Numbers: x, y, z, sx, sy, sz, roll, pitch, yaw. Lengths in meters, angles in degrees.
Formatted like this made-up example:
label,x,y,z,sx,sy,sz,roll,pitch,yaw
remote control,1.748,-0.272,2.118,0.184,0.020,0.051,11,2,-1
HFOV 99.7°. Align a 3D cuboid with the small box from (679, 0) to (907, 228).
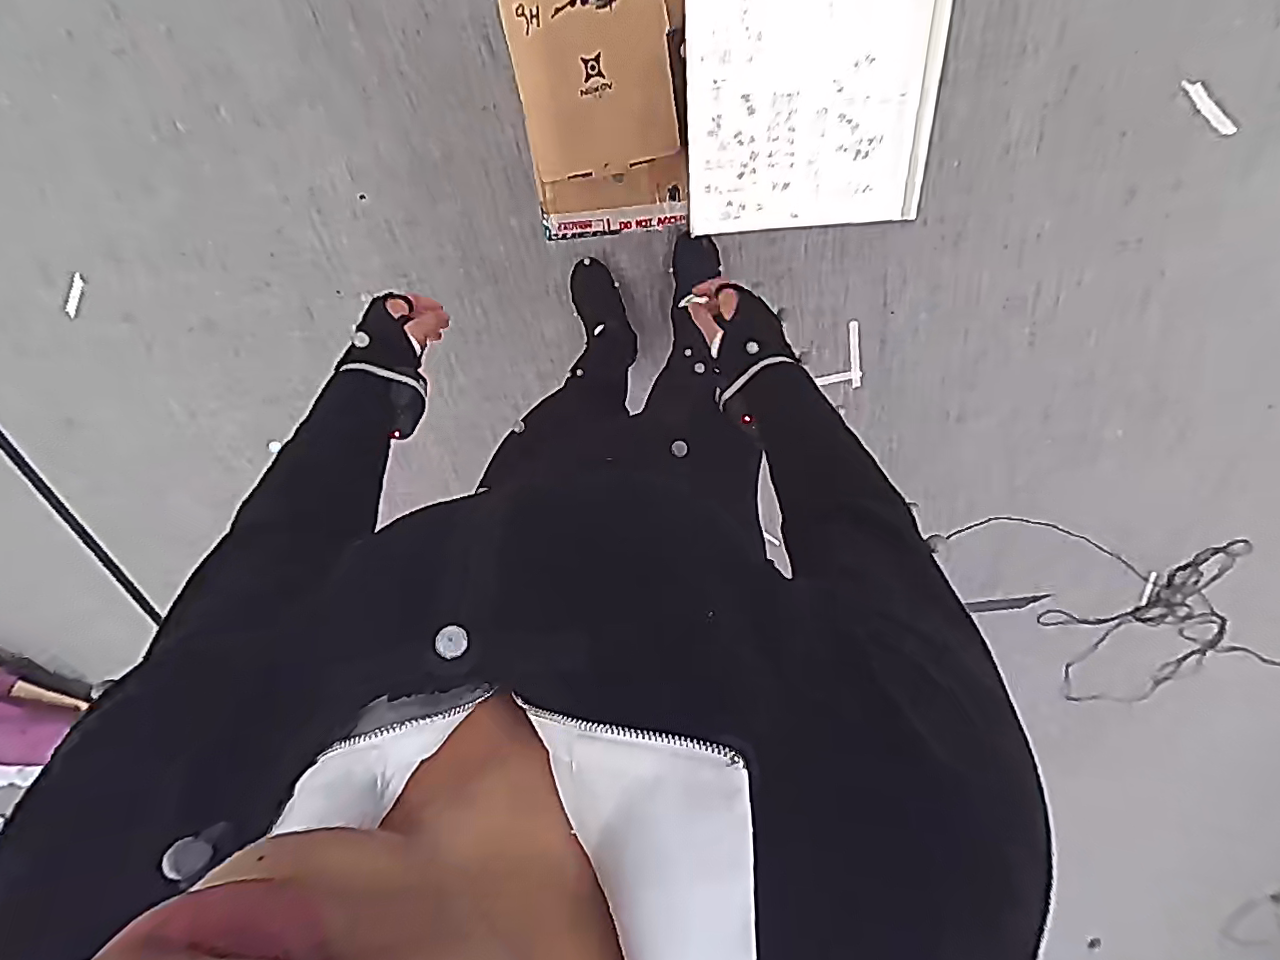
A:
label,x,y,z,sx,sy,sz,roll,pitch,yaw
small box,0.126,-0.350,0.516,0.168,0.176,0.179,-3,122,2
